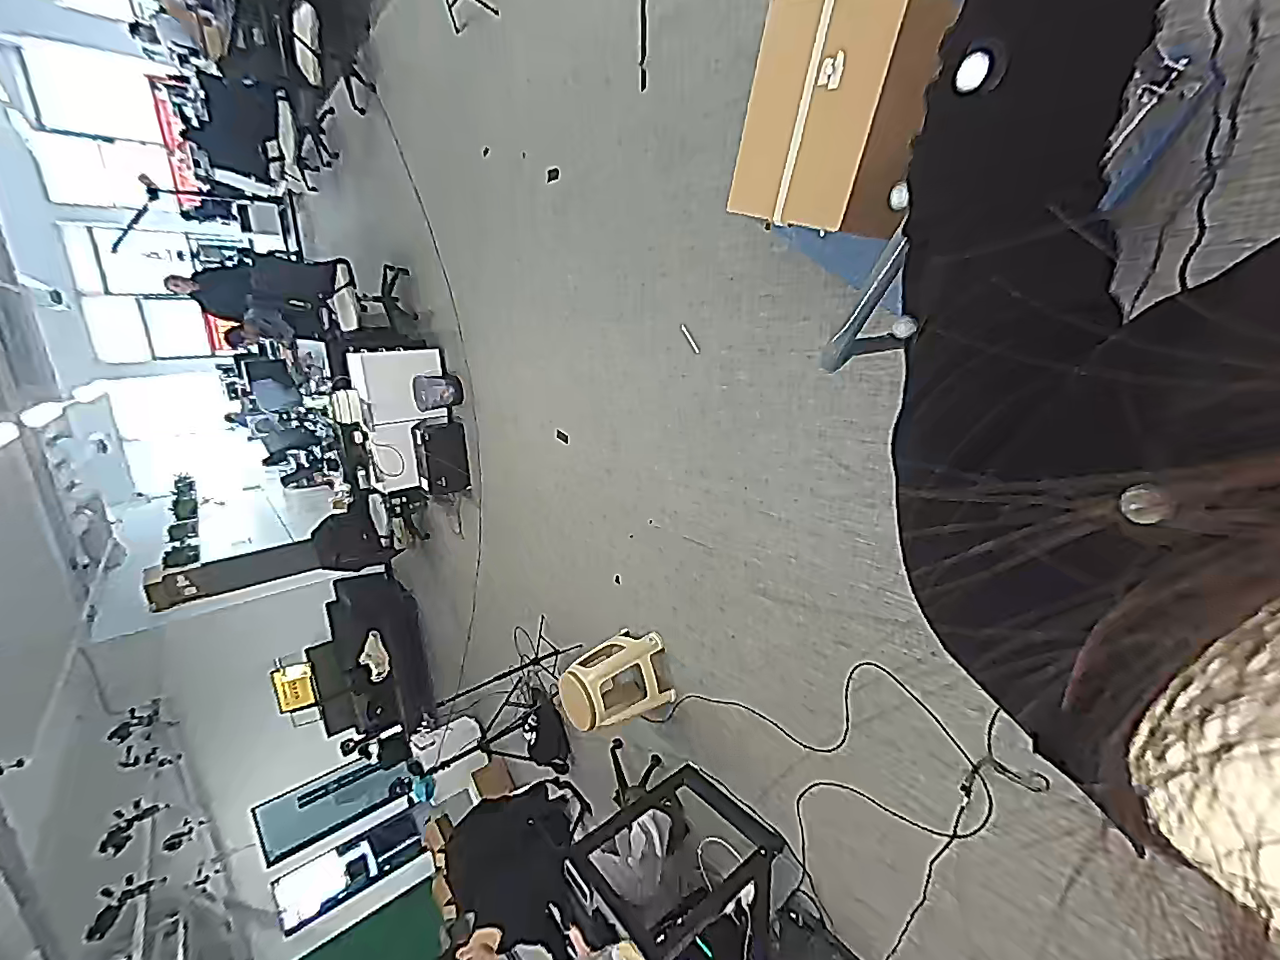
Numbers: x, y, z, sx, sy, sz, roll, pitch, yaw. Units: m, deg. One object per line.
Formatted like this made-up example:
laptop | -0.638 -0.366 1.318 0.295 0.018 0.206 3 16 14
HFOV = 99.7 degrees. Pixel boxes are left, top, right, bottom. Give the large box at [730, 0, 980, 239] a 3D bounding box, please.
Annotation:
large box | 0.446 -0.769 1.174 0.320 0.320 0.408 36 127 39
